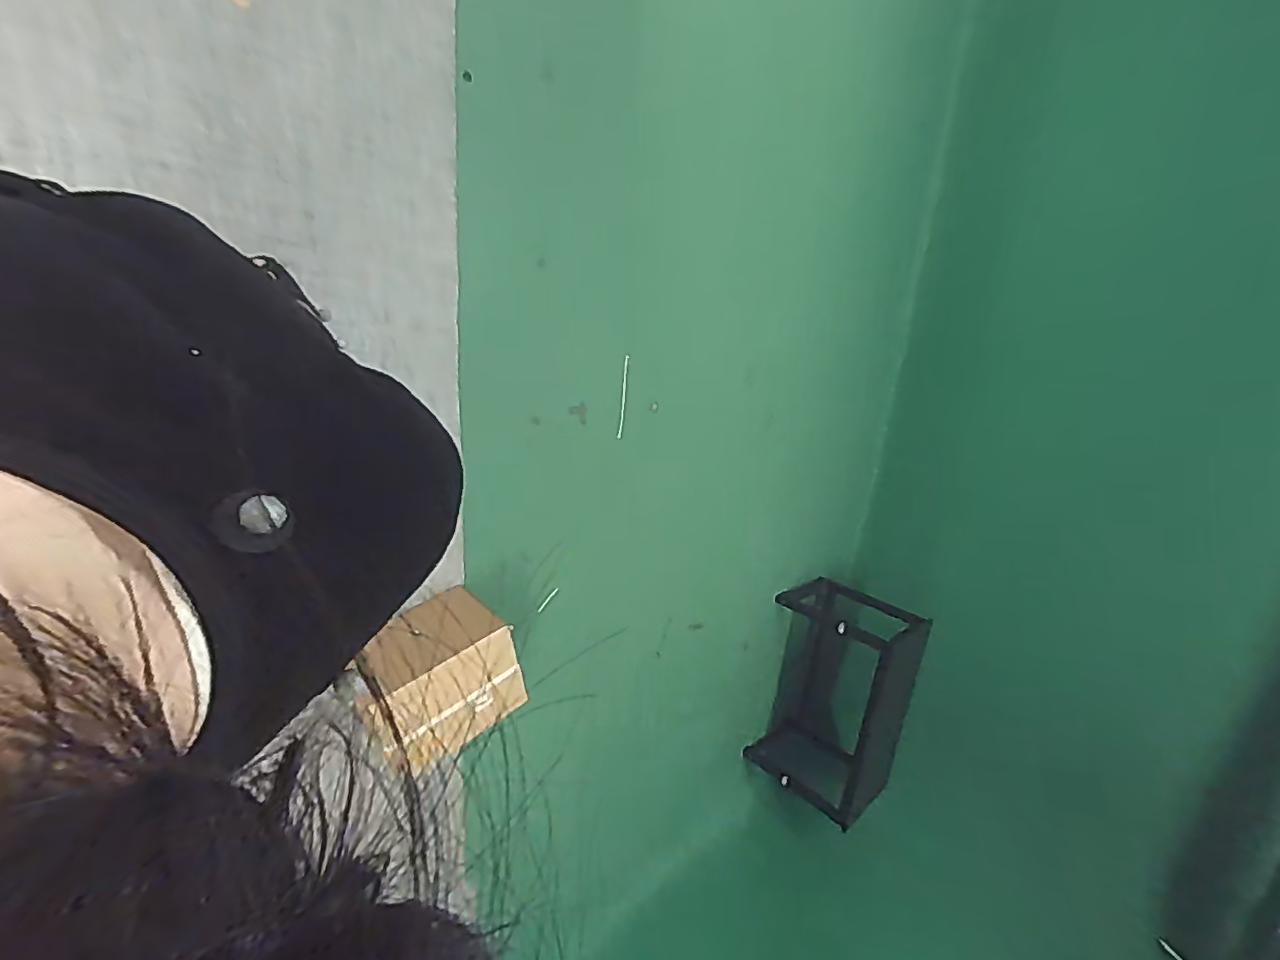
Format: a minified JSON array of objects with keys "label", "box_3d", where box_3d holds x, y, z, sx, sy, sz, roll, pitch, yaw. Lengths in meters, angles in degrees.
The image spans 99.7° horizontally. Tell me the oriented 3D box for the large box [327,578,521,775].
[{"label":"large box","box_3d":[-0.635,0.560,1.622,0.408,0.320,0.320,-28,125,-37]}]
